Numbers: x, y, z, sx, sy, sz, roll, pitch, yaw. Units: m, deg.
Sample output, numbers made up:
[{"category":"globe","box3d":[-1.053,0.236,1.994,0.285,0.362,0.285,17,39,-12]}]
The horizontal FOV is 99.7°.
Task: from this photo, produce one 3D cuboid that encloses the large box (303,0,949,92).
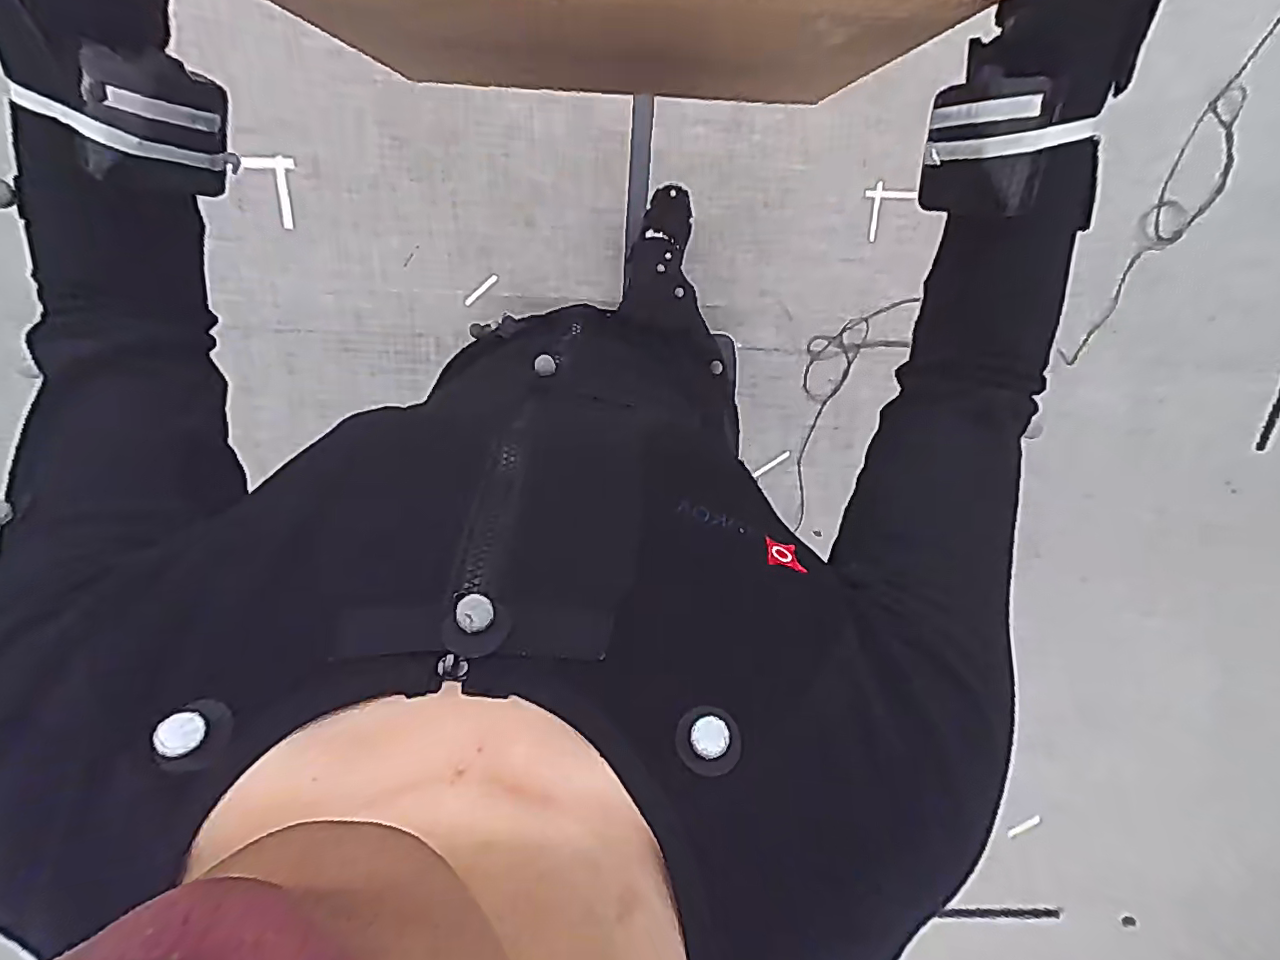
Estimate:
[{"category":"large box","box3d":[-0.014,-0.459,0.335,0.408,0.320,0.320,1,117,-3]}]
